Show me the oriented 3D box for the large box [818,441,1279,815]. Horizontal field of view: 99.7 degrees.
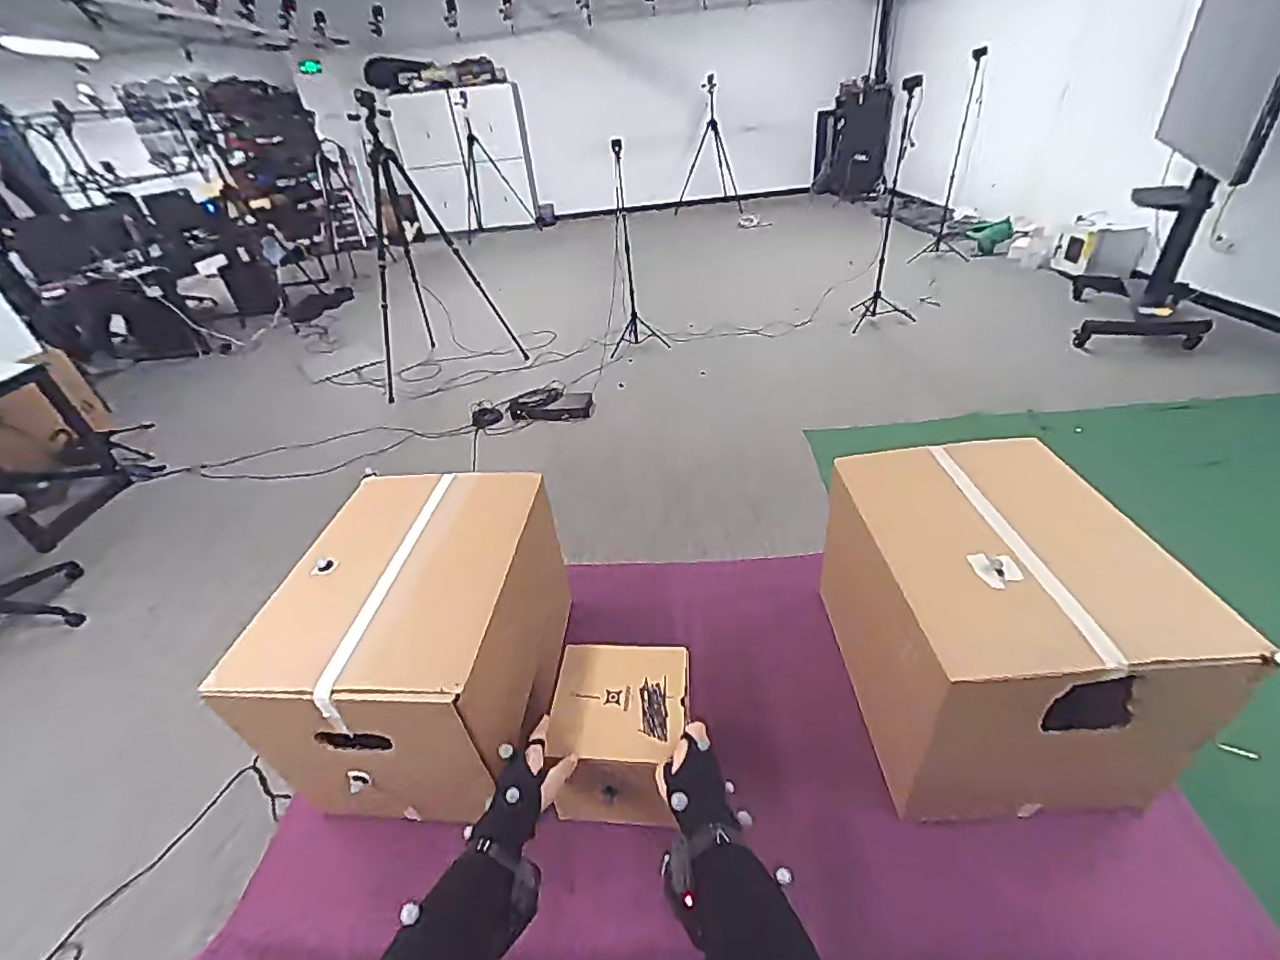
[{"bbox_3d":[0.472,0.189,0.768,0.320,0.320,0.408,-6,36,4],"label":"large box"}]
